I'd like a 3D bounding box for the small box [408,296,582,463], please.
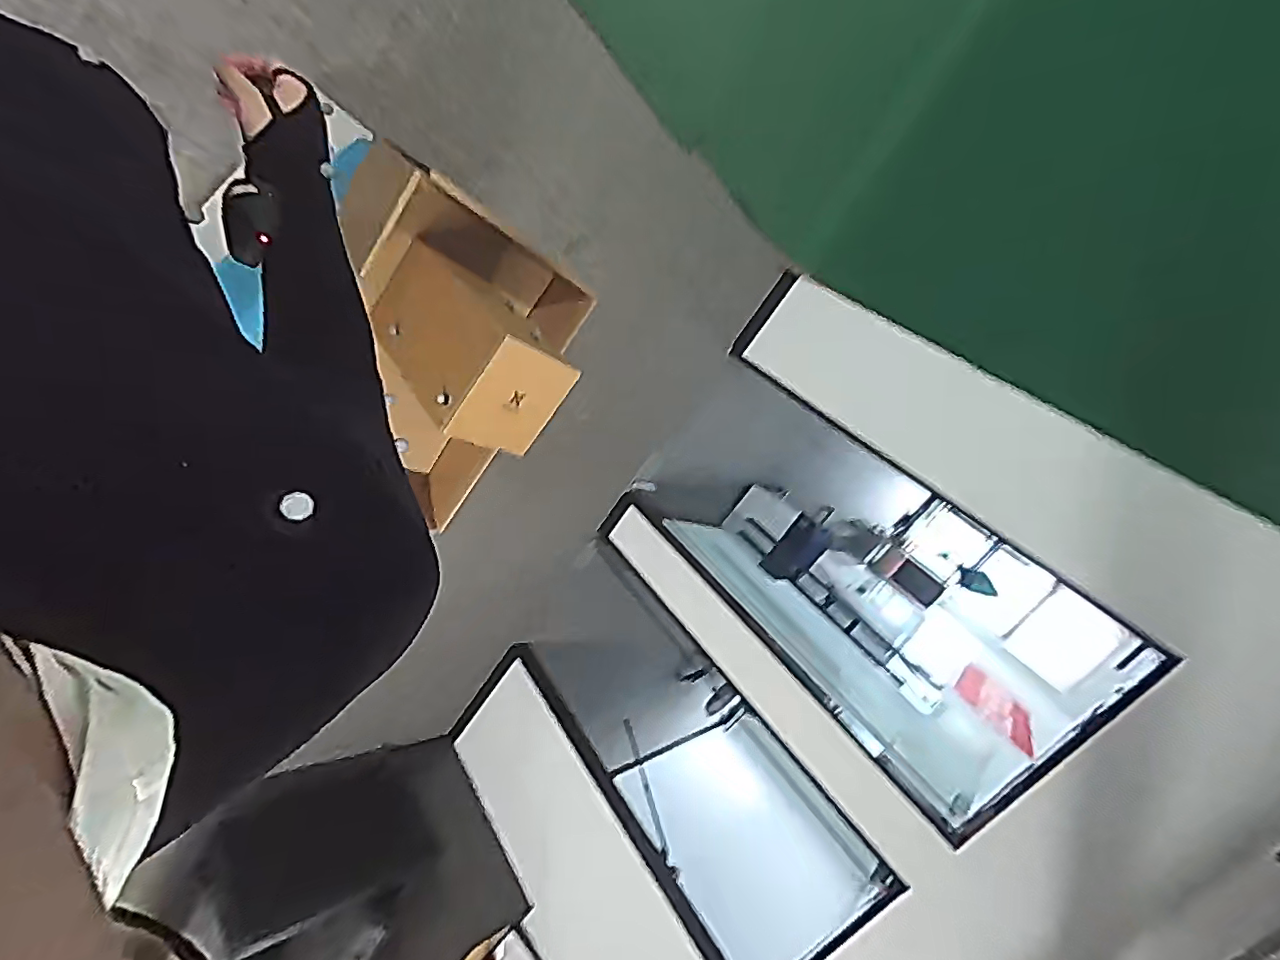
[{"bbox_3d":[-0.232,-0.156,0.851,0.179,0.176,0.168,-51,149,14],"label":"small box"}]
